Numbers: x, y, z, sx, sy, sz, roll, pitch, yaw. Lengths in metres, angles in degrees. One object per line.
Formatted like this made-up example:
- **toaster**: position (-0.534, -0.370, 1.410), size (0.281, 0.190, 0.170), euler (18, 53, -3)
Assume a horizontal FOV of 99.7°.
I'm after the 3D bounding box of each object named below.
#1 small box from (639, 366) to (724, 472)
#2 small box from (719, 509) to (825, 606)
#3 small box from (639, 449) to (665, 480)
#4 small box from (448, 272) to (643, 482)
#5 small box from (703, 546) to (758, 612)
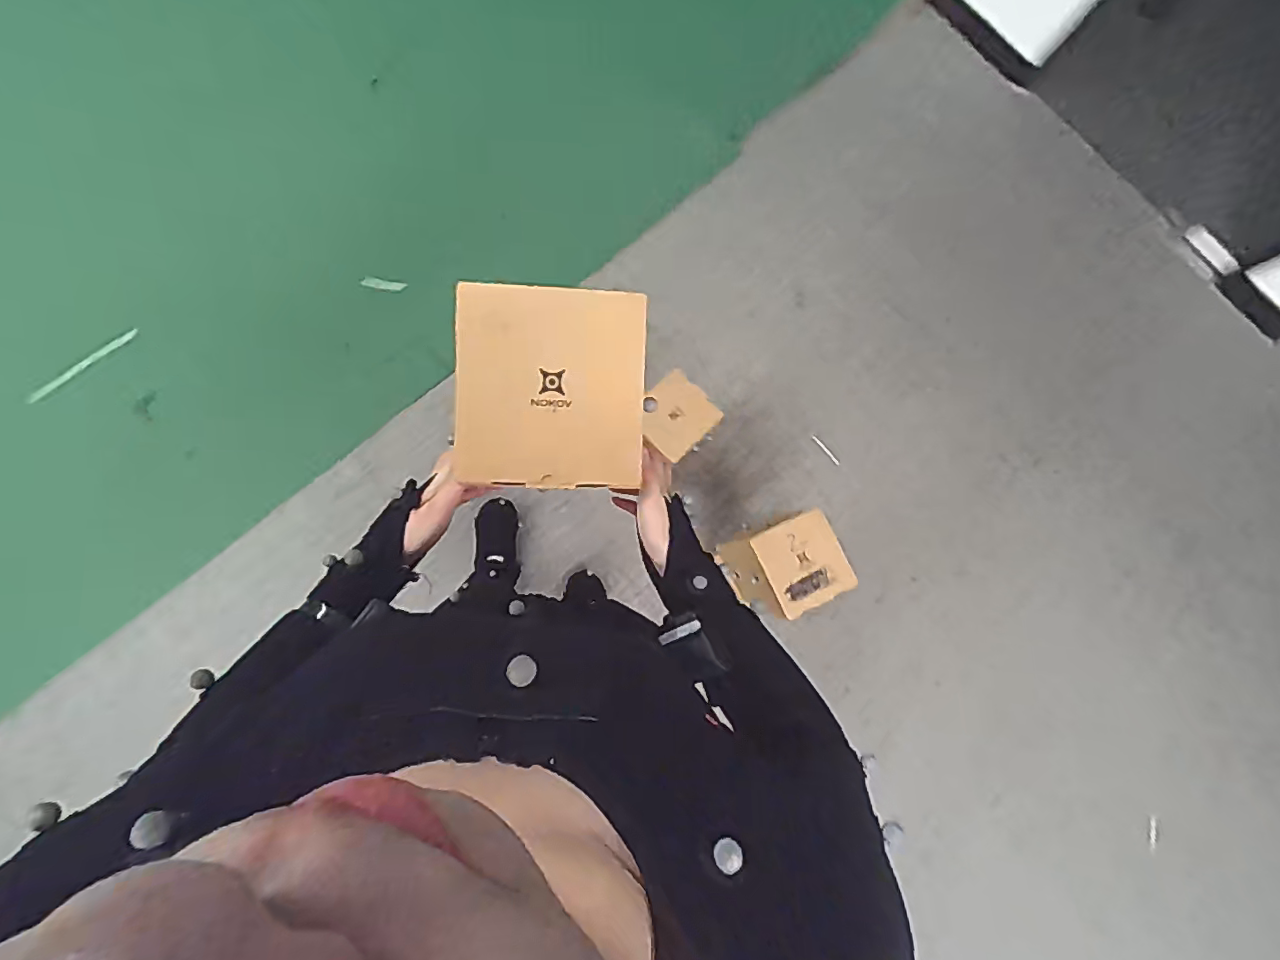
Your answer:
- **small box**: position (0.075, -0.144, 1.330), size (0.179, 0.176, 0.168), euler (-44, 87, -9)
- **small box**: position (0.305, 0.187, 1.301), size (0.179, 0.176, 0.168), euler (-26, 85, -8)
- **small box**: position (0.054, -0.121, 1.489), size (0.179, 0.176, 0.168), euler (-44, 87, -10)
- **small box**: position (-0.091, -0.090, 0.543), size (0.168, 0.176, 0.179), euler (0, 94, -7)
- **small box**: position (0.293, 0.233, 1.458), size (0.179, 0.176, 0.168), euler (-30, 85, -8)
